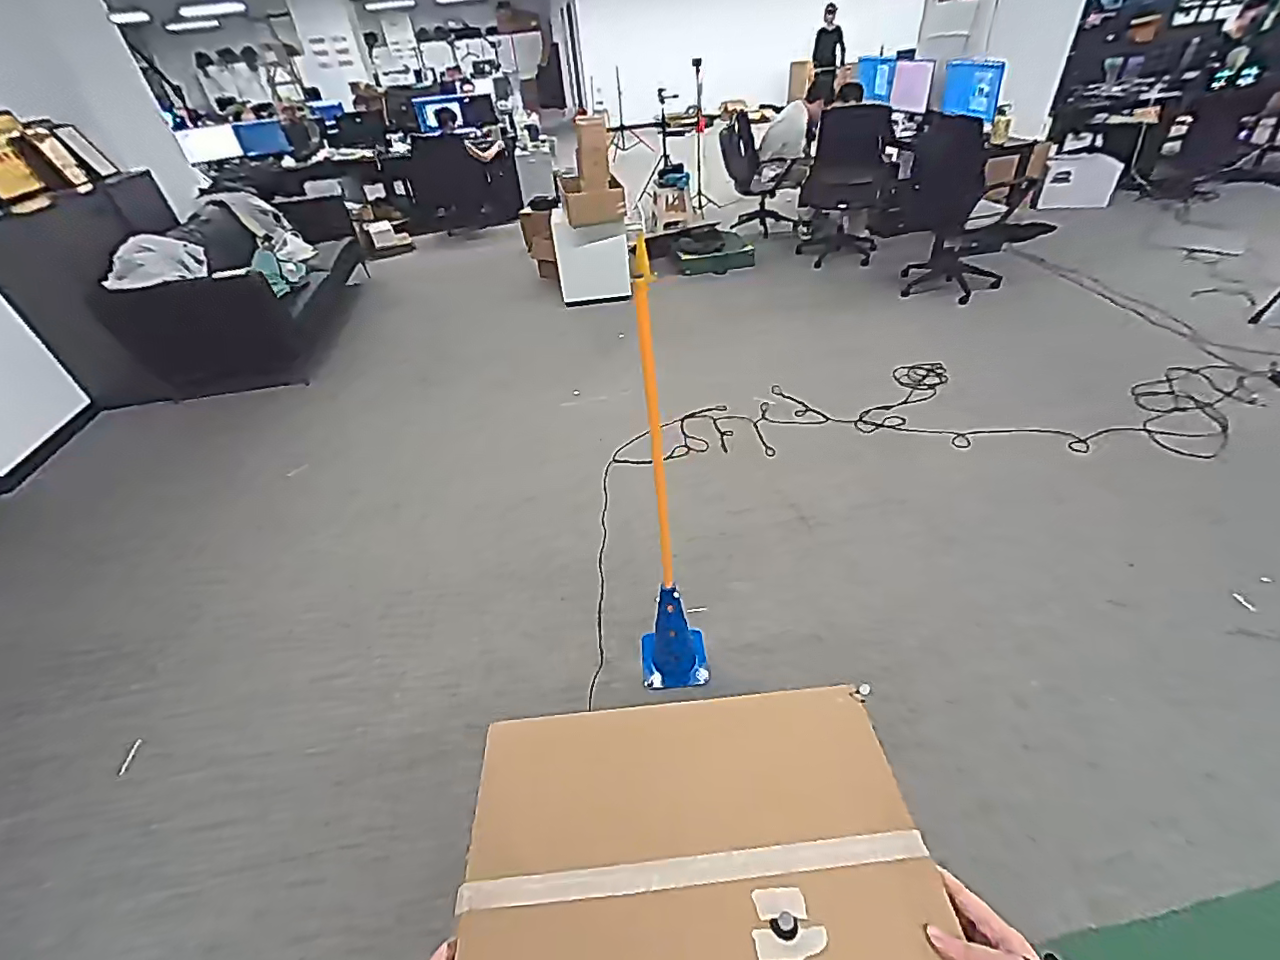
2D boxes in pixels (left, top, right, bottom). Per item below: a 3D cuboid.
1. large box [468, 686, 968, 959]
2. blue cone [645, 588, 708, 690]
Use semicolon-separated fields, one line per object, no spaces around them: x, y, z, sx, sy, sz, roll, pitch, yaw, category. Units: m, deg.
0.059;0.461;0.570;0.408;0.320;0.320;-5;39;-2;large box
0.097;0.448;1.612;0.193;0.380;0.192;-5;39;2;blue cone
